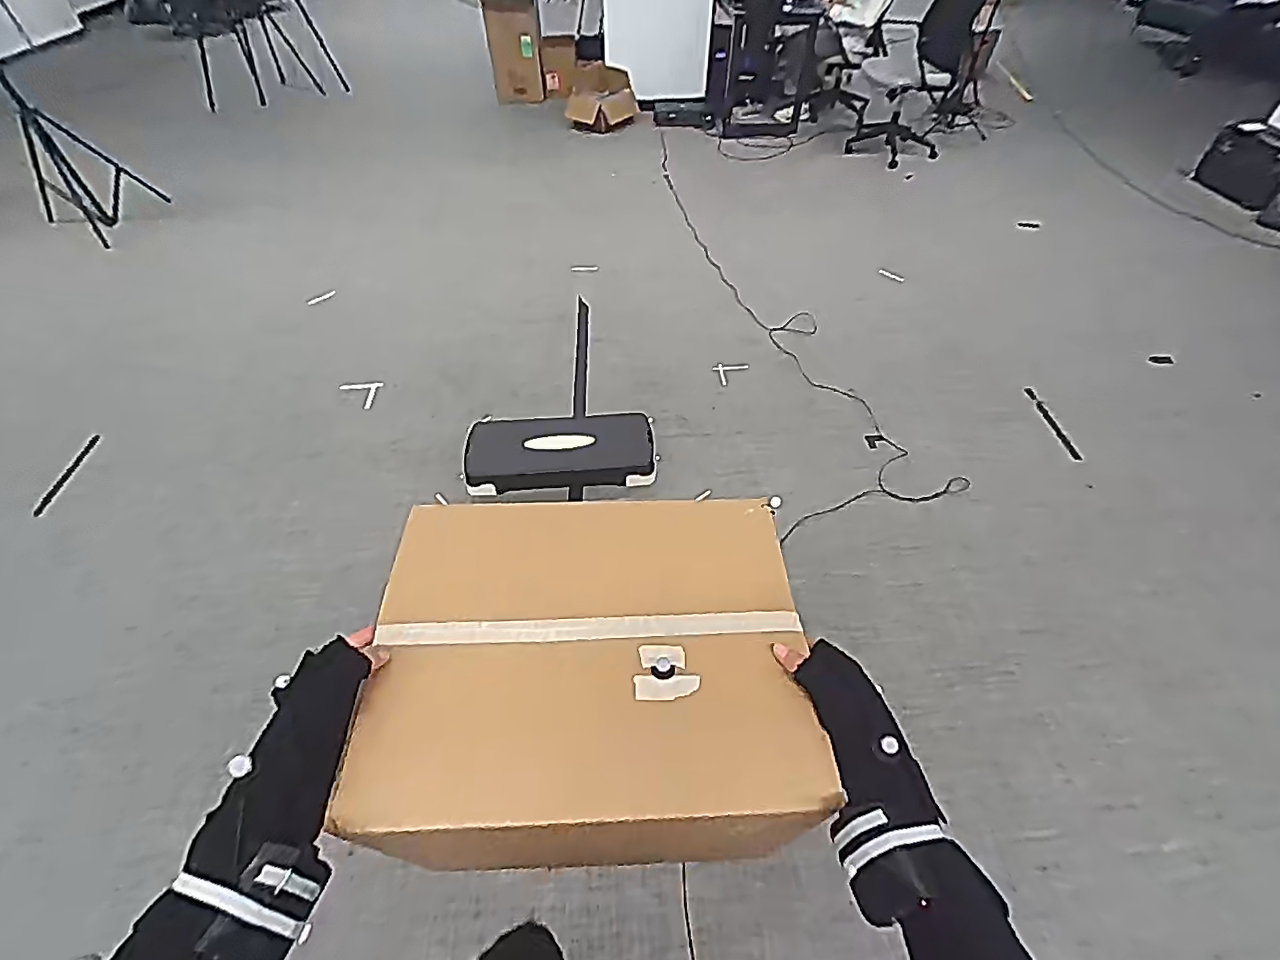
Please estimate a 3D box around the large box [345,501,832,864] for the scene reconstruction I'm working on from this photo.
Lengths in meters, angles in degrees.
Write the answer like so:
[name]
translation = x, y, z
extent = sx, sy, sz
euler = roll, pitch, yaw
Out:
[large box]
translation = -0.049, 0.242, 0.643
extent = 0.408, 0.320, 0.320
euler = -1, 50, -3
